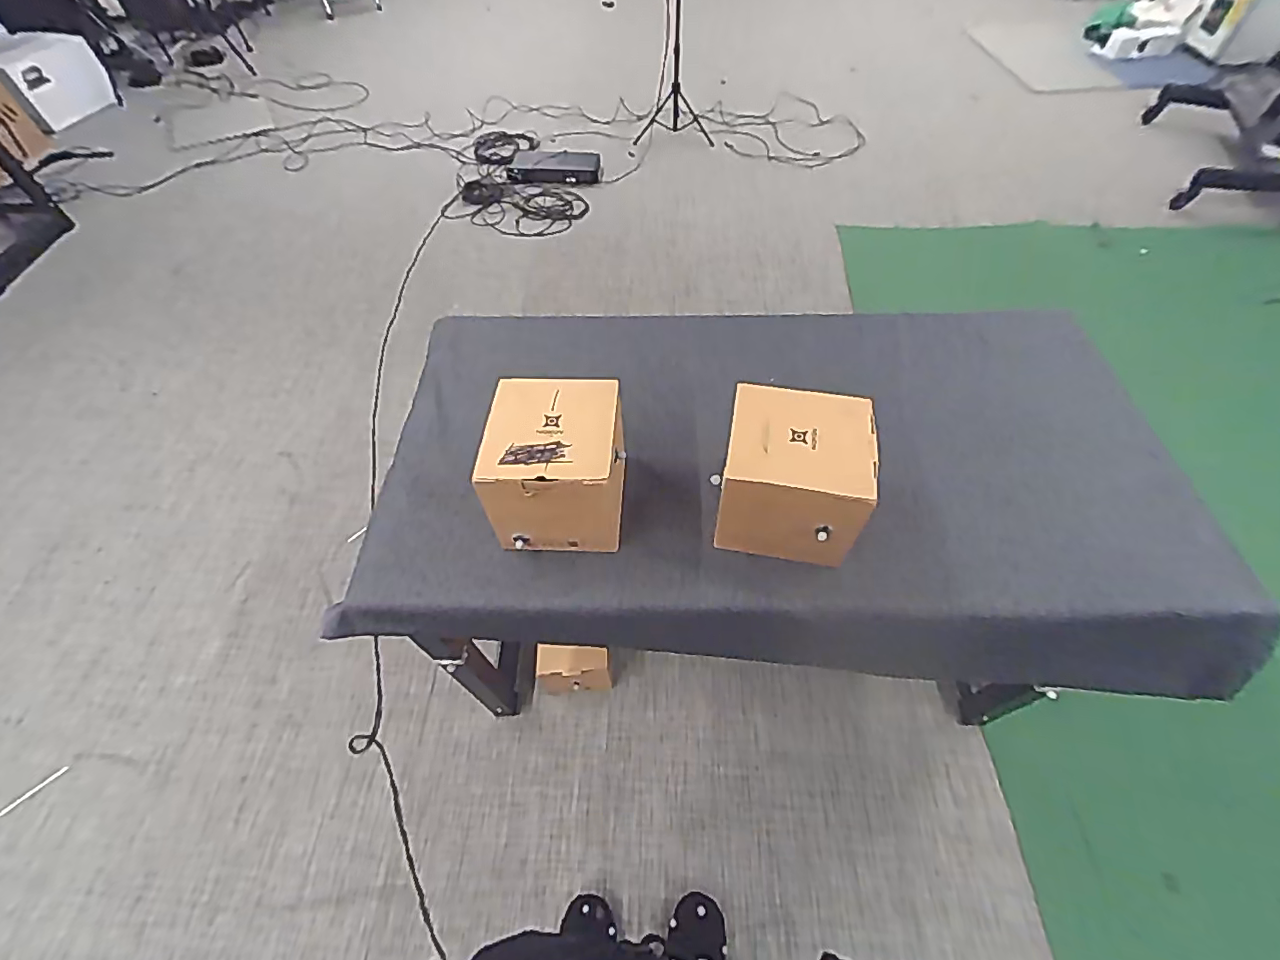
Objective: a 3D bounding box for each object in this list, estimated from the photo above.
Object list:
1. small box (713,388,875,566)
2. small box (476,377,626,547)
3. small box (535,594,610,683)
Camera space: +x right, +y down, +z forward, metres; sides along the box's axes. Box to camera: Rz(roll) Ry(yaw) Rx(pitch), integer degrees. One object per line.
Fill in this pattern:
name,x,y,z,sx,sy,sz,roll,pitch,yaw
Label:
small box,0.202,0.001,0.737,0.179,0.176,0.168,9,54,9
small box,-0.109,-0.021,0.755,0.168,0.176,0.179,2,53,3
small box,-0.162,0.402,1.353,0.168,0.176,0.179,-3,56,-1
